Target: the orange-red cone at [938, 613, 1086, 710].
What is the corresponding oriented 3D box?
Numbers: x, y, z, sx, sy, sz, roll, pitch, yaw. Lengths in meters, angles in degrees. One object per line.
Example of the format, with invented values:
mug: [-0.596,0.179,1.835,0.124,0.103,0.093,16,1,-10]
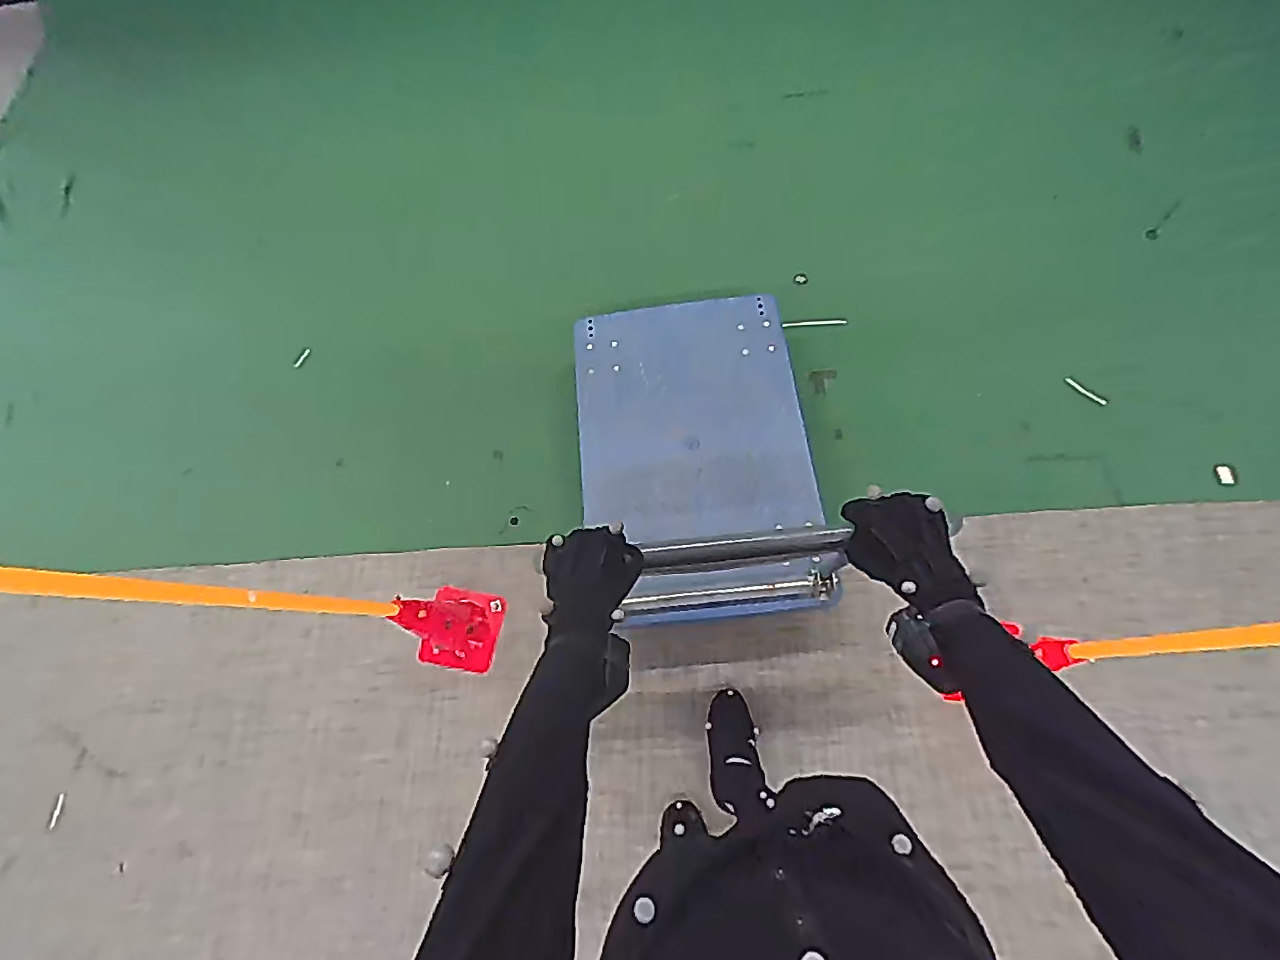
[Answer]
orange-red cone: [0.794,0.368,1.124,0.198,0.360,0.199,7,71,9]
